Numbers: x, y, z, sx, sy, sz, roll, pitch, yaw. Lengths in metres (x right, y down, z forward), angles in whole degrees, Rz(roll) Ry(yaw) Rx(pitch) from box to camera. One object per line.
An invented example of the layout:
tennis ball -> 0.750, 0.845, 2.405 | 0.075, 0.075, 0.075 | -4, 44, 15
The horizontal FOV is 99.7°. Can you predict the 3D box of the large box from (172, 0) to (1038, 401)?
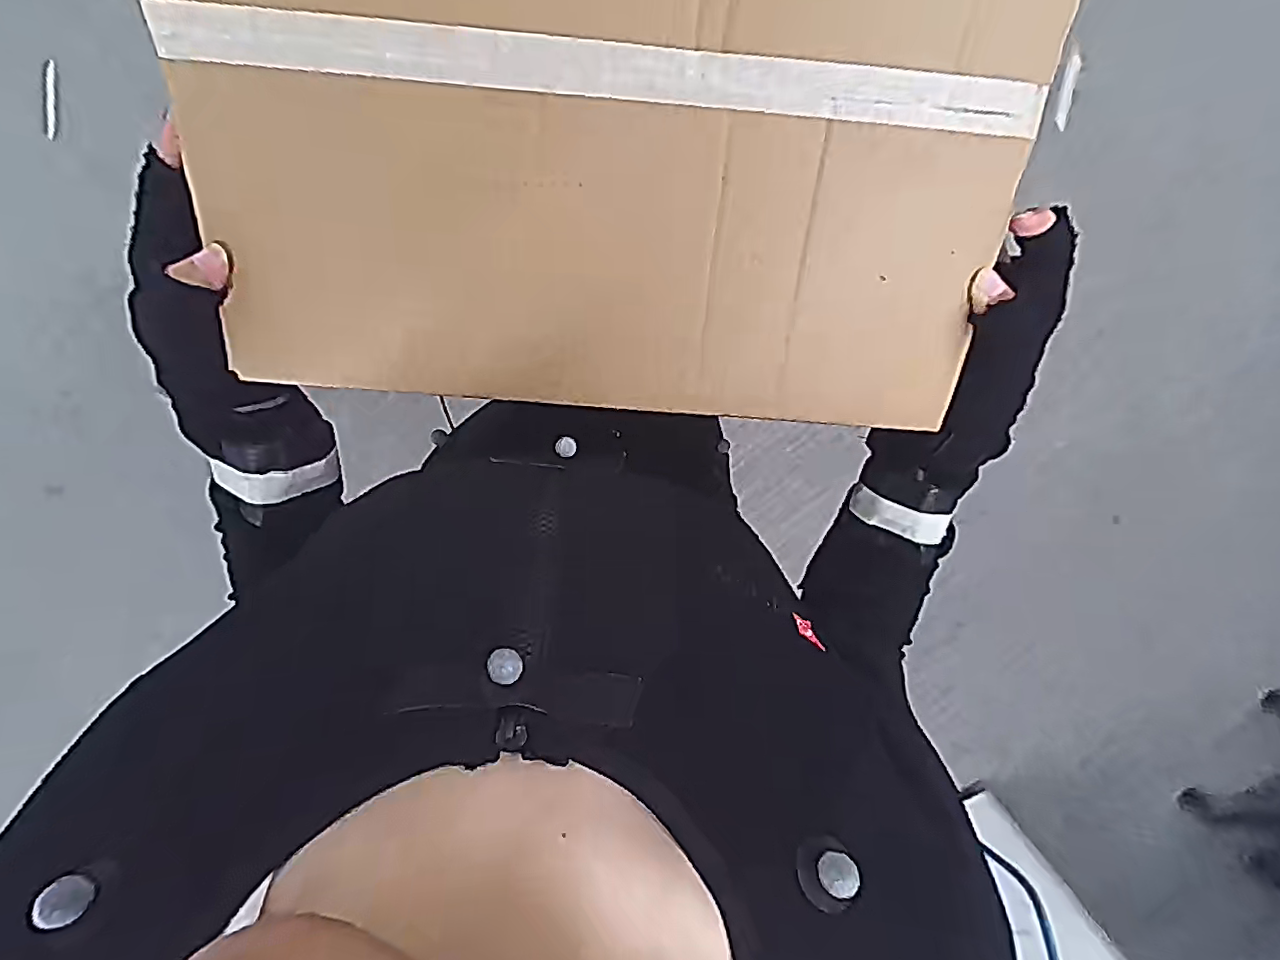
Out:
large box -> -0.021, -0.251, 0.396 | 0.408, 0.320, 0.320 | 2, 115, -2
